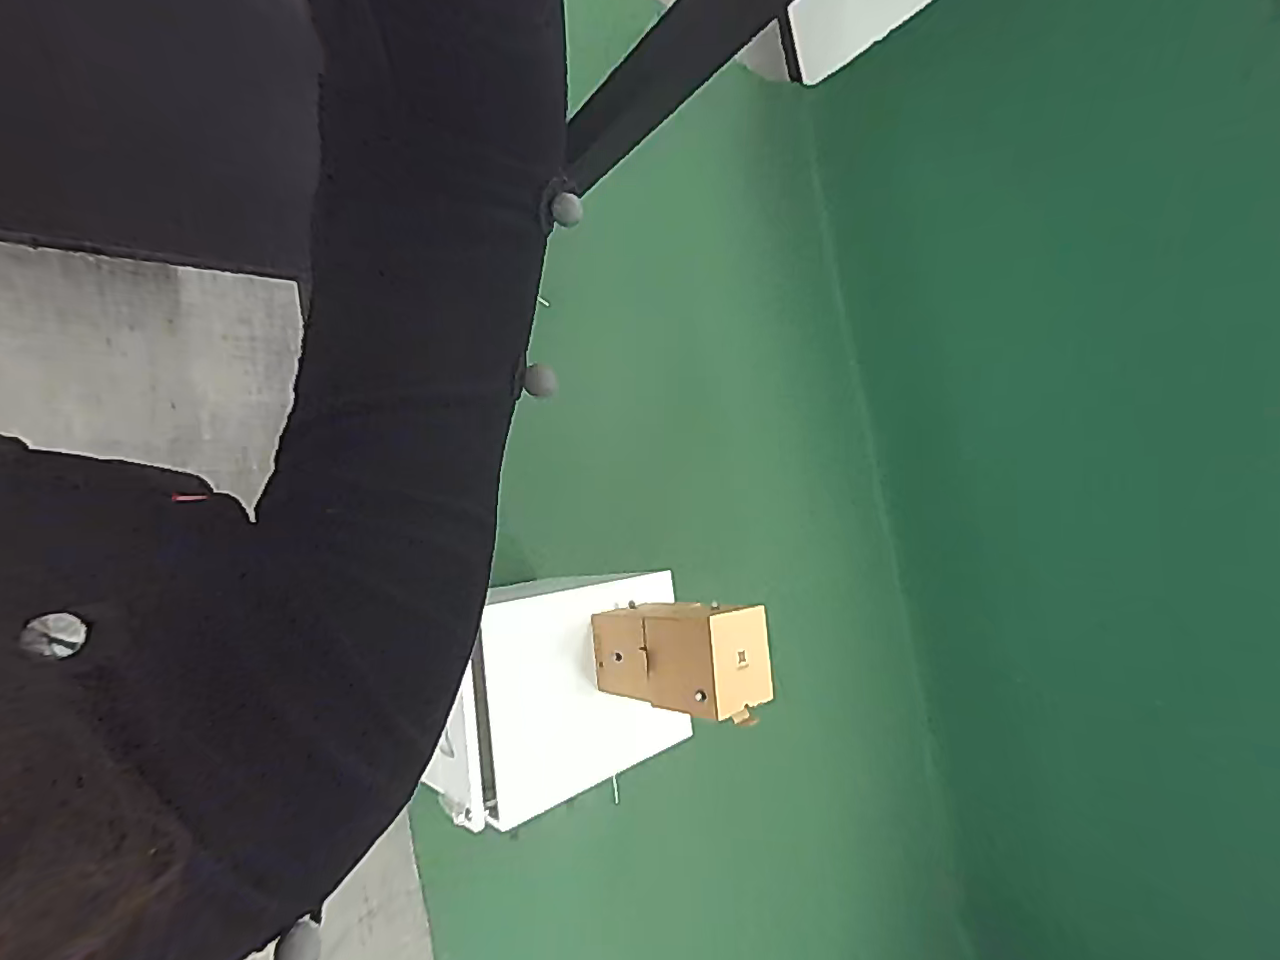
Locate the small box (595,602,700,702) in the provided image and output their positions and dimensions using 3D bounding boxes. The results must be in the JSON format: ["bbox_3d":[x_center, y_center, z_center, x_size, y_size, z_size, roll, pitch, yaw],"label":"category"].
[{"bbox_3d":[0.018,0.355,1.144,0.179,0.176,0.168,-1,82,-42],"label":"small box"}]

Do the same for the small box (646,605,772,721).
[{"bbox_3d":[0.126,0.334,1.024,0.168,0.176,0.179,3,80,-43],"label":"small box"}]
